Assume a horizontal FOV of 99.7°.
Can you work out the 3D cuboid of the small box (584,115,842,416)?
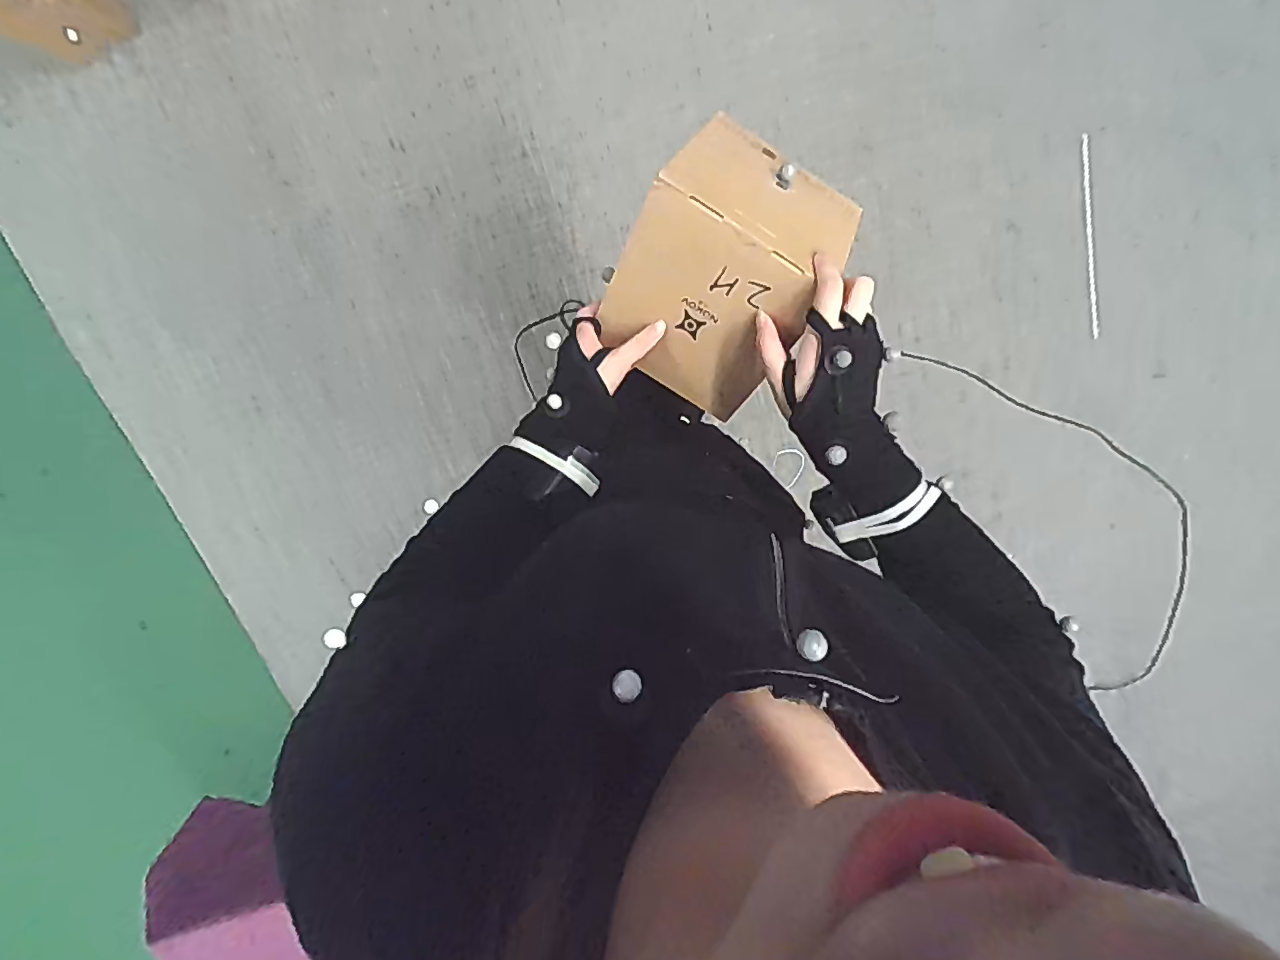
[{"bbox_3d":[0.073,-0.204,0.524,0.168,0.176,0.179,31,142,-5],"label":"small box"}]
